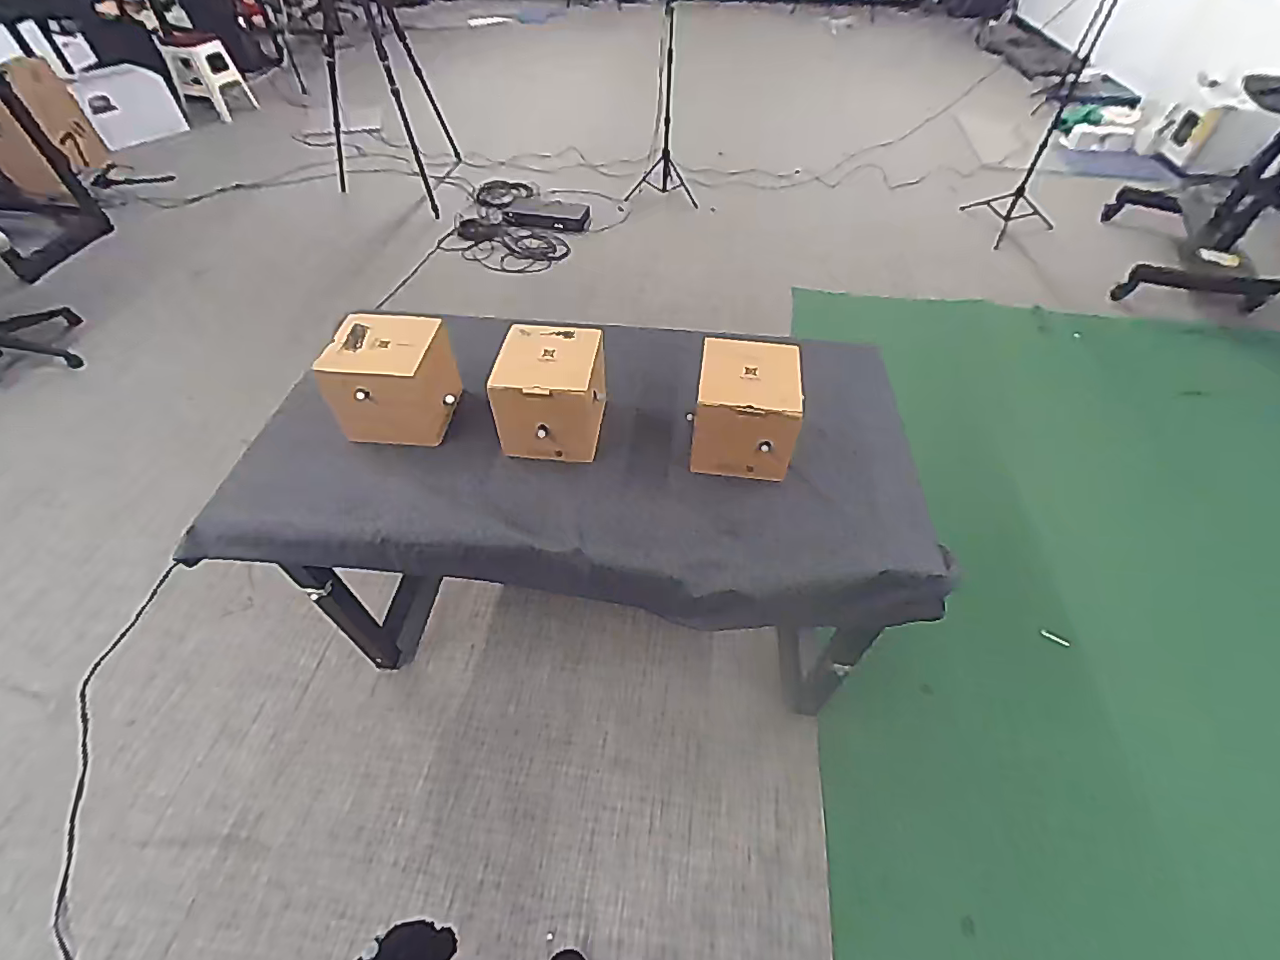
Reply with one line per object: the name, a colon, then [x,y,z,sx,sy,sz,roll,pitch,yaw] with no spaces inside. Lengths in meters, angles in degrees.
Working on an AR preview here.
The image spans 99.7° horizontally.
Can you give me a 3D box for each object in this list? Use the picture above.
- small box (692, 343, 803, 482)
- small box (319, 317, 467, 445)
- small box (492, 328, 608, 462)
small box: [0.185,-0.117,0.959,0.168,0.176,0.179,7,49,4]
small box: [-0.442,-0.180,1.001,0.179,0.176,0.168,4,50,1]
small box: [-0.151,-0.151,0.982,0.168,0.176,0.179,5,50,3]
